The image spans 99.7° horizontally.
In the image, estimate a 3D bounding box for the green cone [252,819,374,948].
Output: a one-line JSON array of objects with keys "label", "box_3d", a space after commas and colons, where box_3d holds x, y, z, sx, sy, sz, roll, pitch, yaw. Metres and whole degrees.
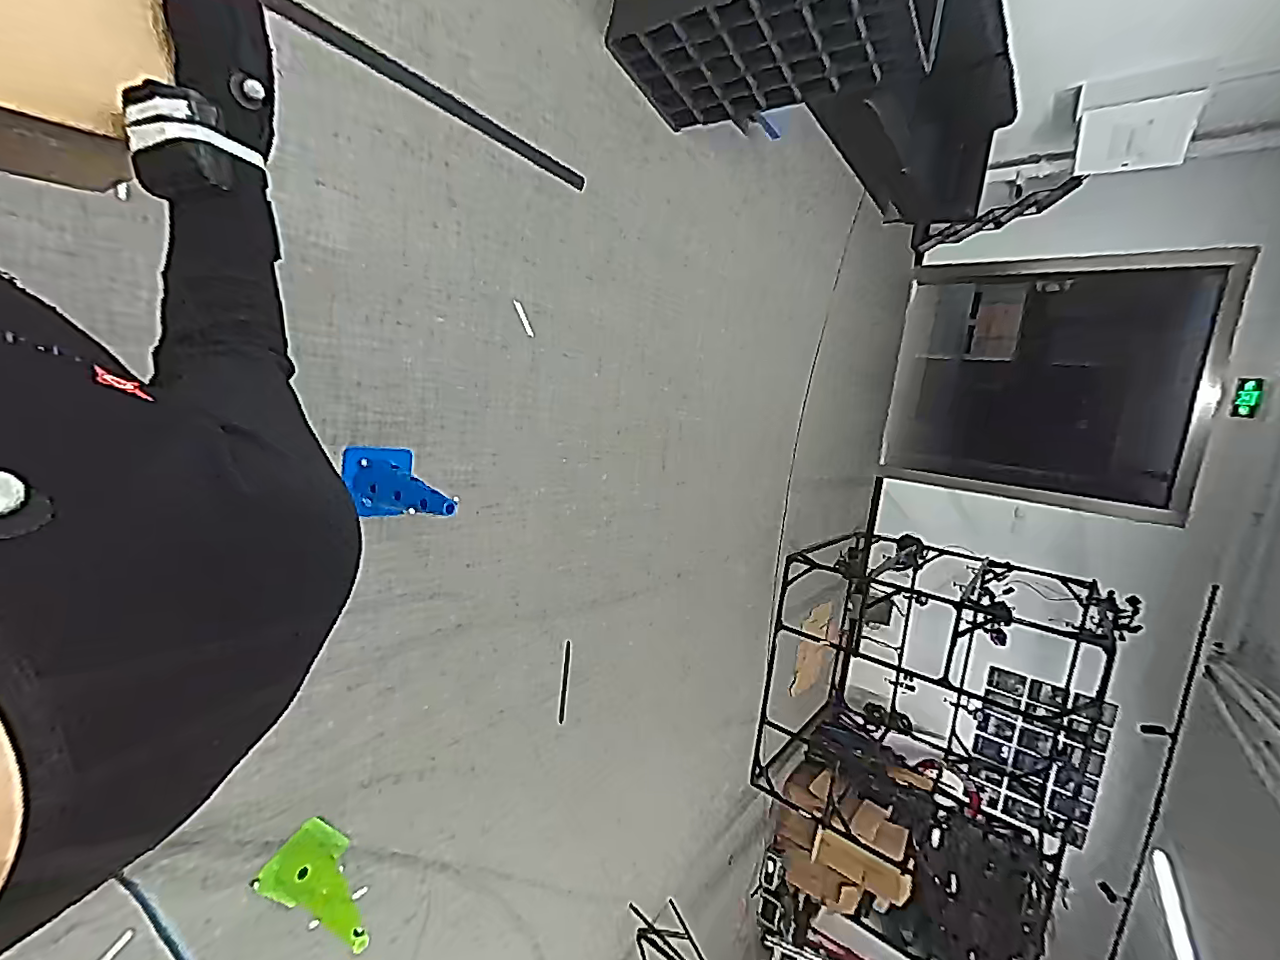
[{"label": "green cone", "box_3d": [-0.839, 1.140, 1.469, 0.202, 0.368, 0.200, -50, 137, -35]}]

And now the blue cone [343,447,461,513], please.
[{"label": "blue cone", "box_3d": [-0.620, 0.030, 1.458, 0.192, 0.380, 0.193, 2, 99, -55]}]

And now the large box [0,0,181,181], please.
[{"label": "large box", "box_3d": [-0.576, -0.413, 0.312, 0.408, 0.320, 0.320, -10, 111, -52]}]
